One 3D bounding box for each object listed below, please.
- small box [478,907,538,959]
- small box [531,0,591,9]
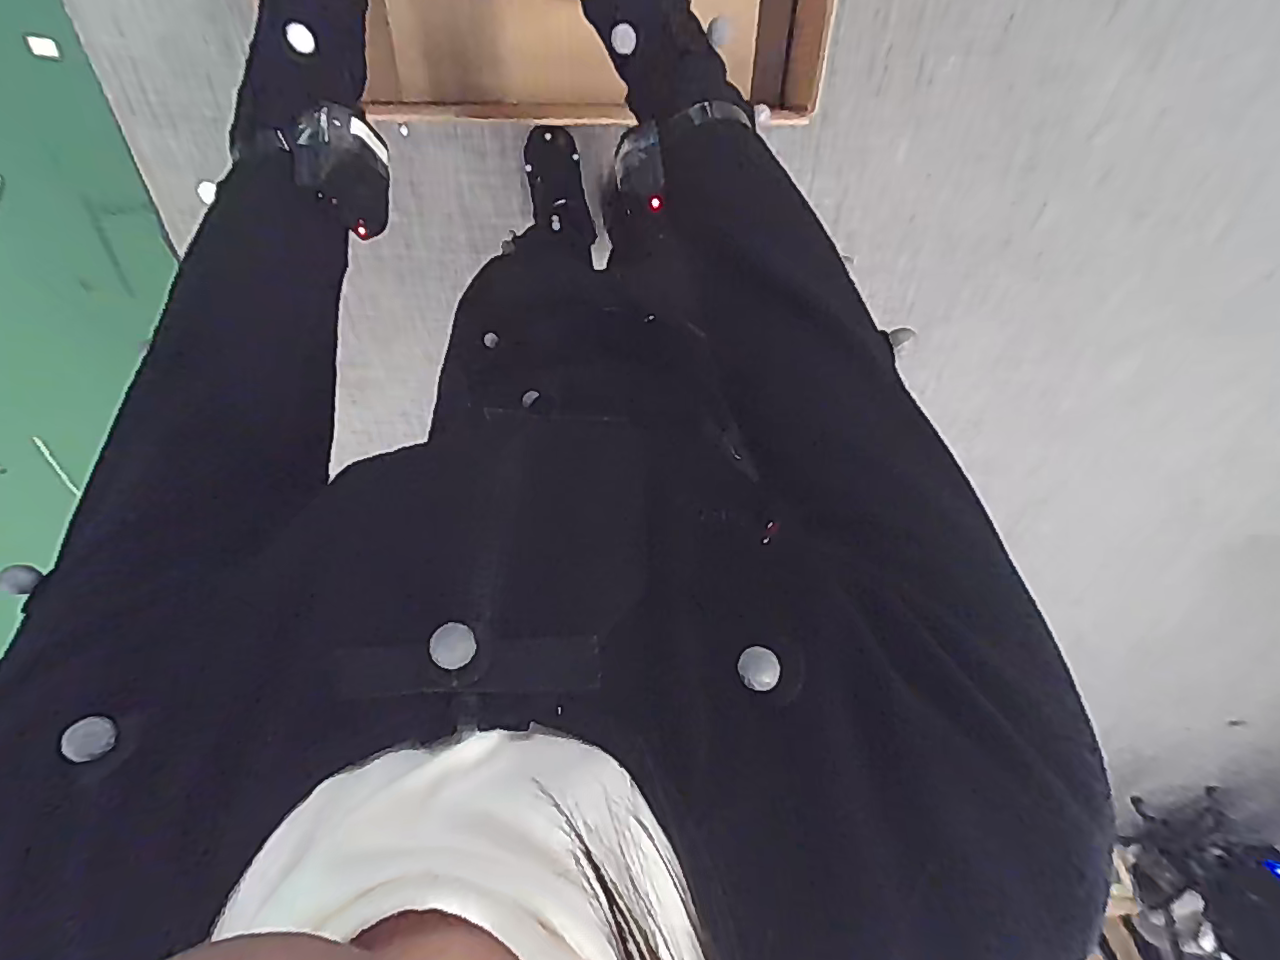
[{"bbox_3d":[-0.452,1.612,1.877,0.168,0.176,0.179,-2,127,-1],"label":"small box"},{"bbox_3d":[-0.128,-0.618,0.553,0.168,0.176,0.179,6,126,-5],"label":"small box"}]
